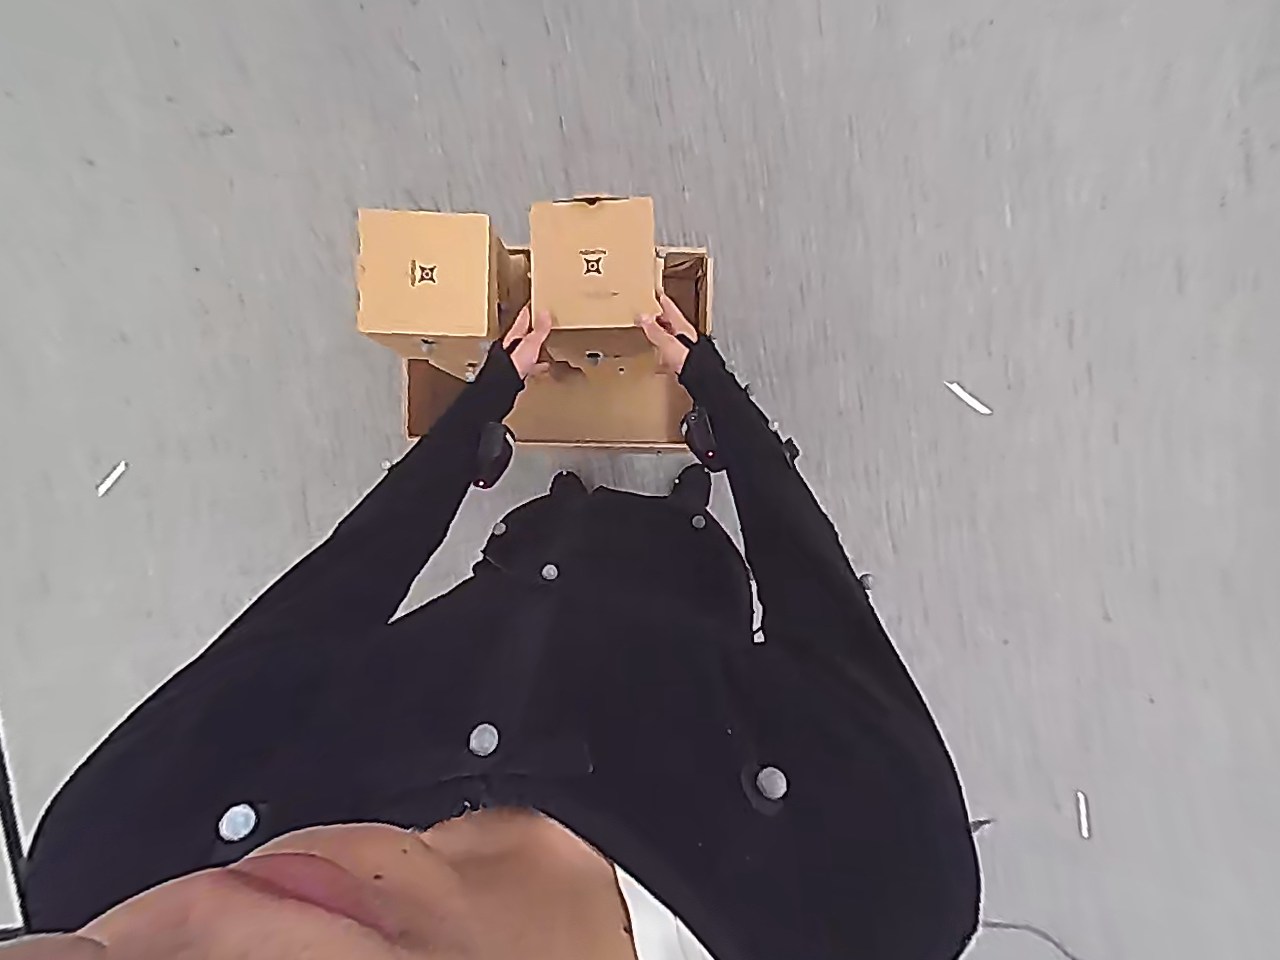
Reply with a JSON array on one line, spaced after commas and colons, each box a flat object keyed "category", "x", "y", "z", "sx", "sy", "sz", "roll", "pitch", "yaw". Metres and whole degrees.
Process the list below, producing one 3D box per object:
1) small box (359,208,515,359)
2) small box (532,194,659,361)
[{"category": "small box", "x": -0.287, "y": -0.278, "z": 0.799, "sx": 0.179, "sy": 0.176, "sz": 0.168, "roll": 2, "pitch": 91, "yaw": -1}, {"category": "small box", "x": -0.056, "y": -0.282, "z": 0.782, "sx": 0.168, "sy": 0.176, "sz": 0.179, "roll": -1, "pitch": 87, "yaw": 2}]
